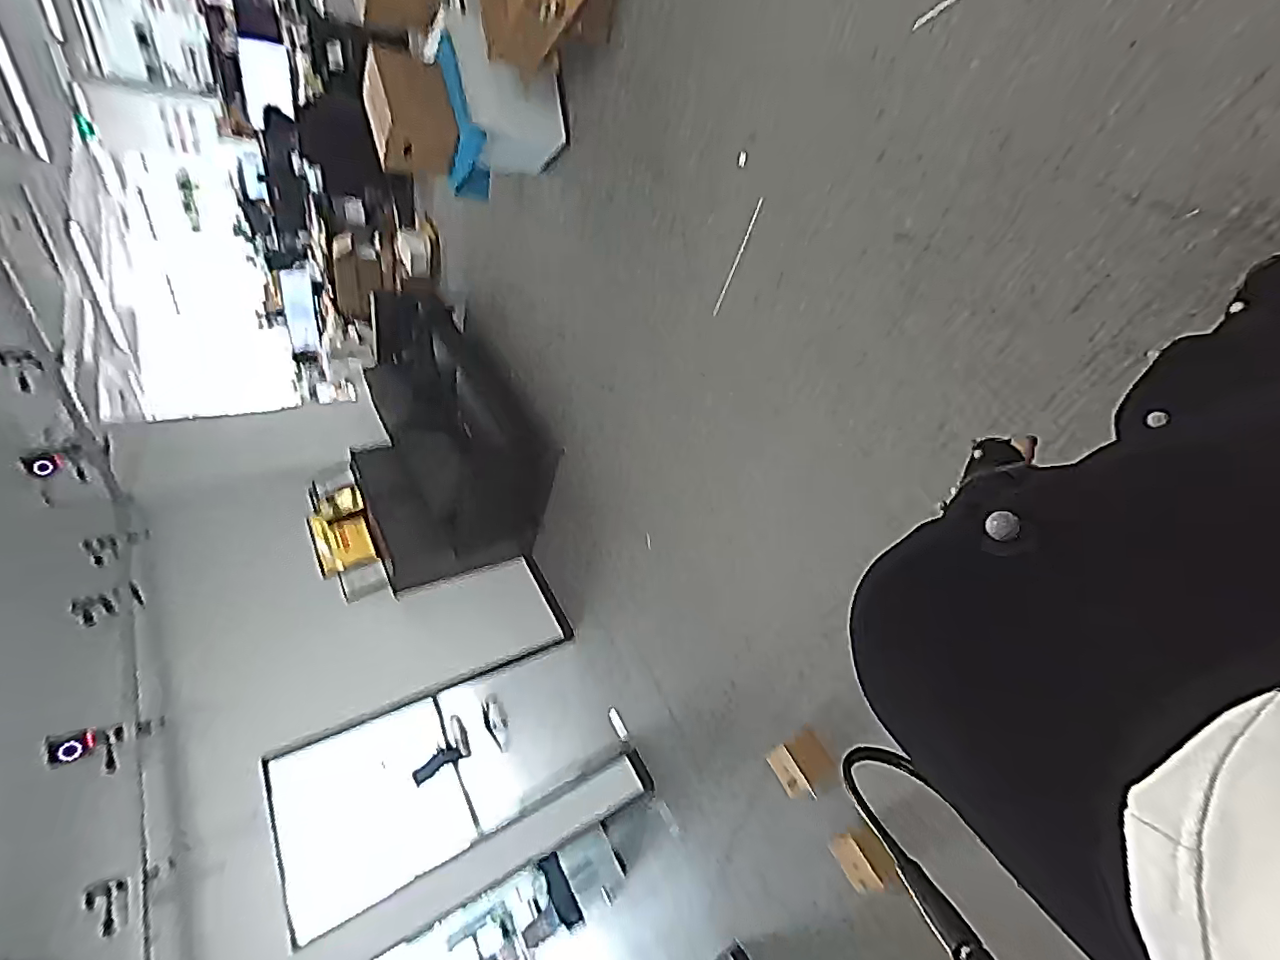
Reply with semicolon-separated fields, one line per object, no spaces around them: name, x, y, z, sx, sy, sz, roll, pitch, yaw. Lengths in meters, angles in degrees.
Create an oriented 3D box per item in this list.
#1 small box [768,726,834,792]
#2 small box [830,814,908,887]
small box;0.686;1.181;2.293;0.179;0.176;0.168;56;142;29
small box;0.885;1.422;2.088;0.179;0.176;0.168;57;142;27
